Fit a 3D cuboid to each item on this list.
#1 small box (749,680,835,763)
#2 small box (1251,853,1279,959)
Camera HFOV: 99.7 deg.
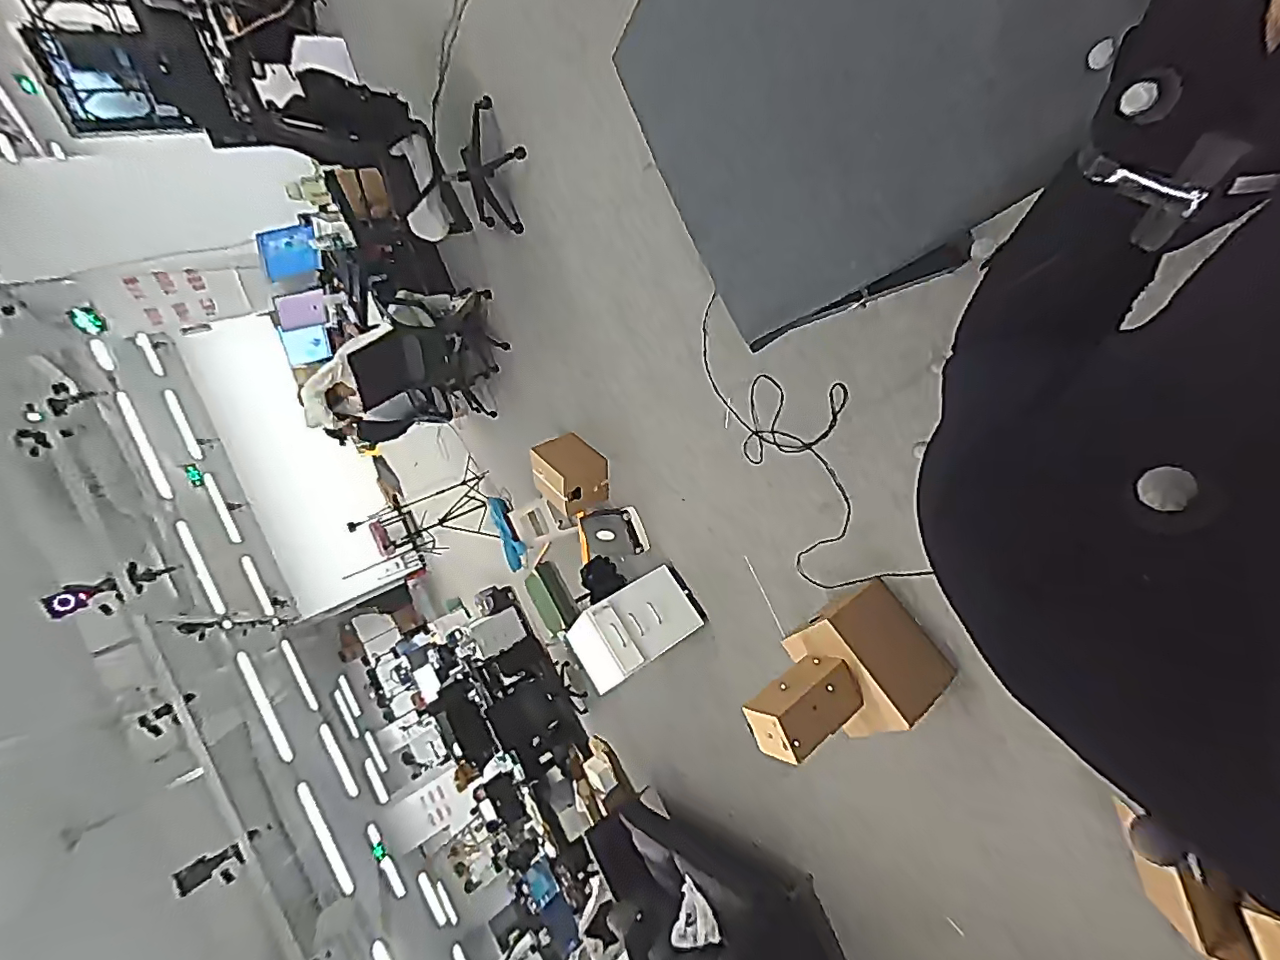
[{"bbox_3d":[0.491,0.769,1.745,0.179,0.176,0.168,-22,93,62],"label":"small box"},{"bbox_3d":[1.343,0.869,1.037,0.179,0.176,0.168,-22,91,61],"label":"small box"}]
